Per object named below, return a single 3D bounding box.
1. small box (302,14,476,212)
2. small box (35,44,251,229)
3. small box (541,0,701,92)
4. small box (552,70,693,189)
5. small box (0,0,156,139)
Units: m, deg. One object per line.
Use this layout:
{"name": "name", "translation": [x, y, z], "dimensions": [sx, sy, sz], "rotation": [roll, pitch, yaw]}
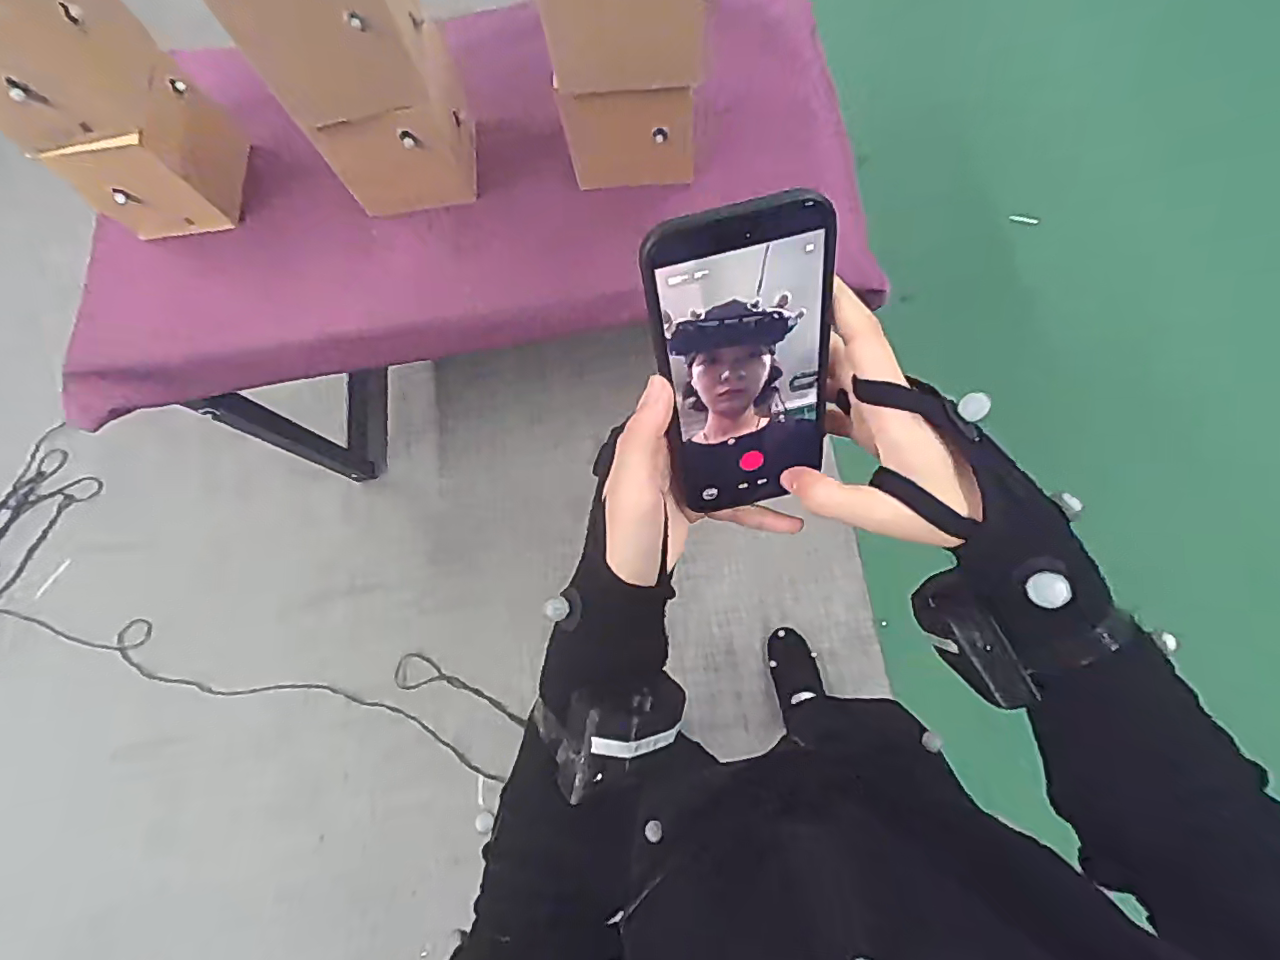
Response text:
{"name": "small box", "translation": [-0.353, -0.527, 0.796], "dimensions": [0.179, 0.176, 0.168], "rotation": [-5, 74, 4]}
{"name": "small box", "translation": [-0.742, -0.510, 0.830], "dimensions": [0.168, 0.176, 0.179], "rotation": [-5, 74, 4]}
{"name": "small box", "translation": [-0.020, -0.574, 0.608], "dimensions": [0.179, 0.176, 0.168], "rotation": [0, 74, 5]}
{"name": "small box", "translation": [-0.014, -0.545, 0.770], "dimensions": [0.179, 0.176, 0.168], "rotation": [1, 74, 6]}
{"name": "small box", "translation": [-0.758, -0.562, 0.675], "dimensions": [0.168, 0.176, 0.179], "rotation": [-10, 75, 2]}
